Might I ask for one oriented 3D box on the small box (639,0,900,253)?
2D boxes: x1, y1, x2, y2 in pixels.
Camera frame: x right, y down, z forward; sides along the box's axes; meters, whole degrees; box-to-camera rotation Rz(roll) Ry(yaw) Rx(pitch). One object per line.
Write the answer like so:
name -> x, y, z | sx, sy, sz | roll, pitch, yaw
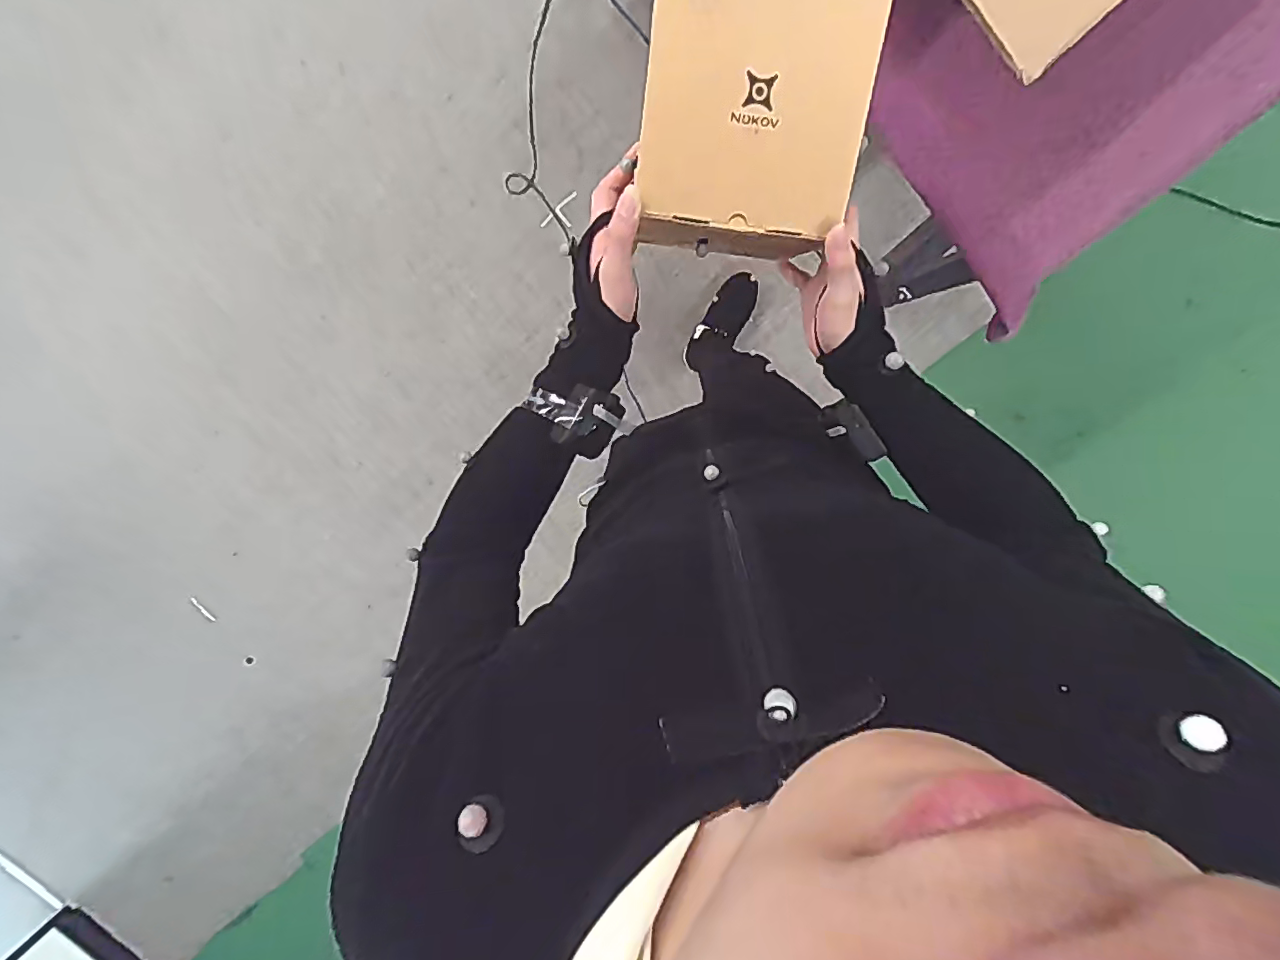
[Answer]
small box -> 0.090, -0.305, 0.466 | 0.168, 0.176, 0.179 | 6, 109, -3
